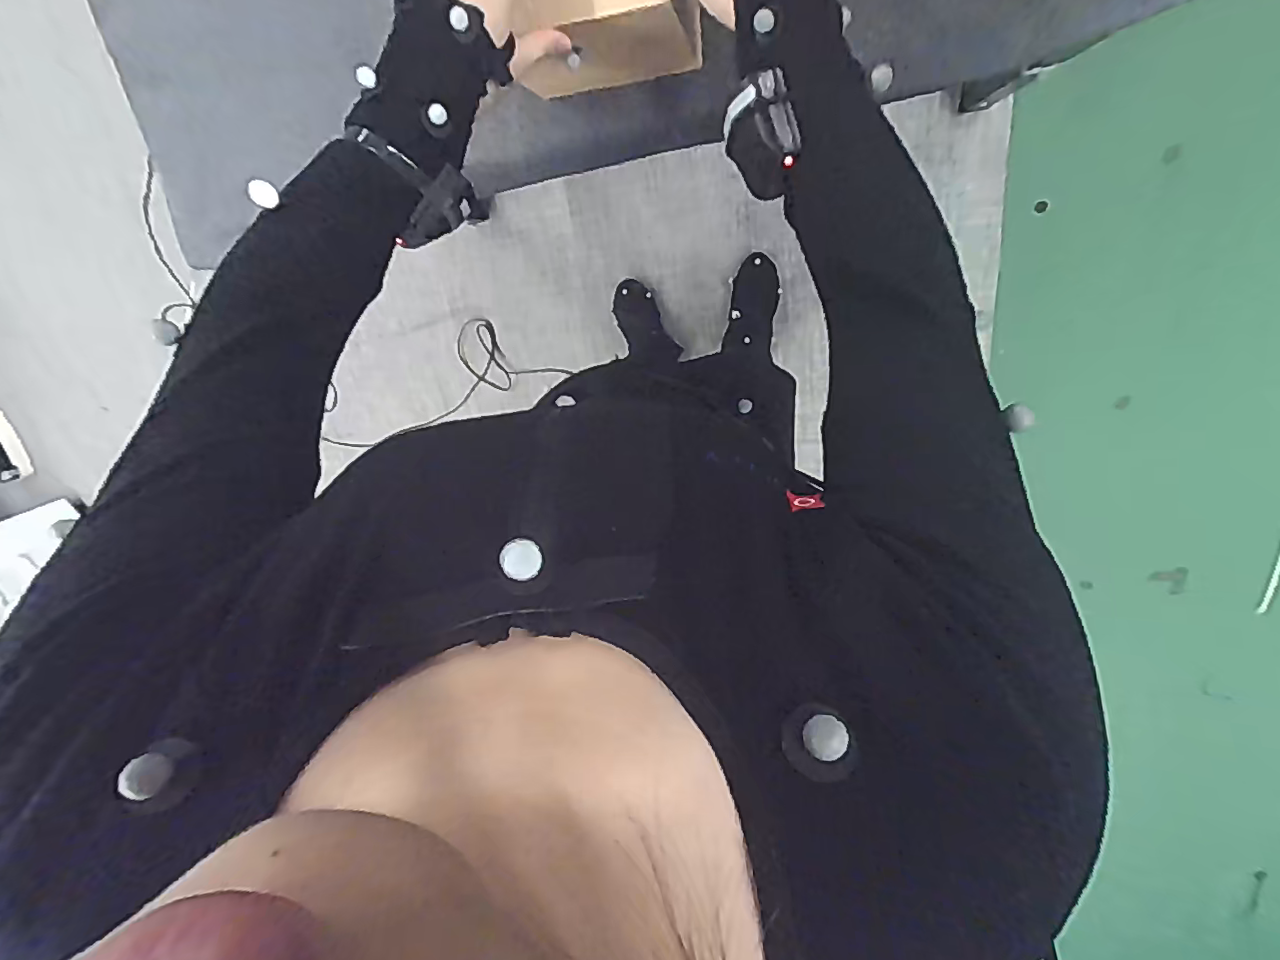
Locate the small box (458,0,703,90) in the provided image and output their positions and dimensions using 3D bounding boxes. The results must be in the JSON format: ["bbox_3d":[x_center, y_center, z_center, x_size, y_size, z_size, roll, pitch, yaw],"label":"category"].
[{"bbox_3d":[-0.047,-0.459,0.461,0.179,0.176,0.168,0,114,15],"label":"small box"}]
